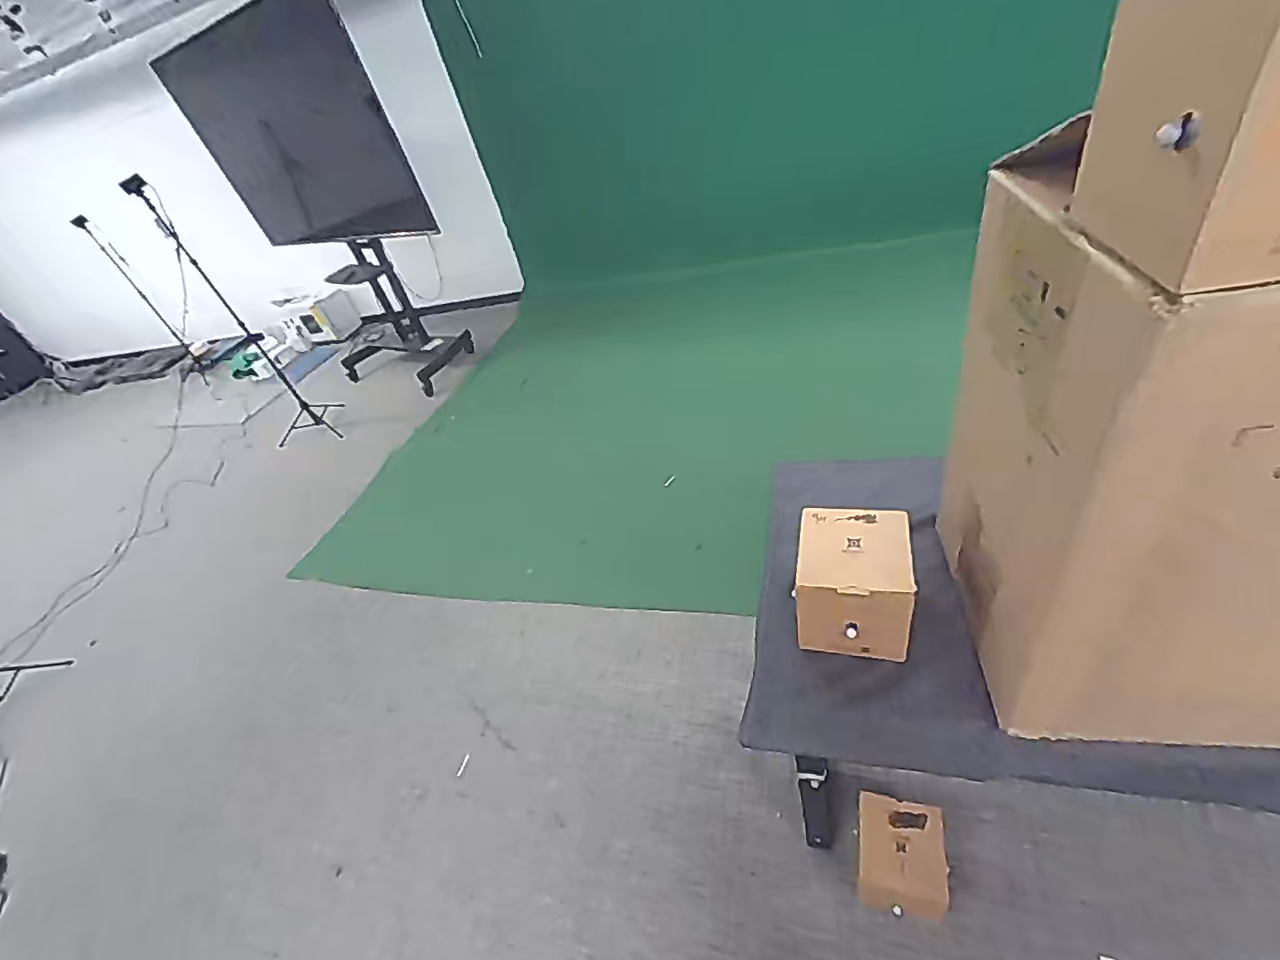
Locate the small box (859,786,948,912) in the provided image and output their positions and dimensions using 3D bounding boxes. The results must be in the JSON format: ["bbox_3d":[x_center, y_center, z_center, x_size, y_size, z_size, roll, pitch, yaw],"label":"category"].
[{"bbox_3d":[0.581,0.823,1.209,0.168,0.176,0.179,0,44,23],"label":"small box"}]
